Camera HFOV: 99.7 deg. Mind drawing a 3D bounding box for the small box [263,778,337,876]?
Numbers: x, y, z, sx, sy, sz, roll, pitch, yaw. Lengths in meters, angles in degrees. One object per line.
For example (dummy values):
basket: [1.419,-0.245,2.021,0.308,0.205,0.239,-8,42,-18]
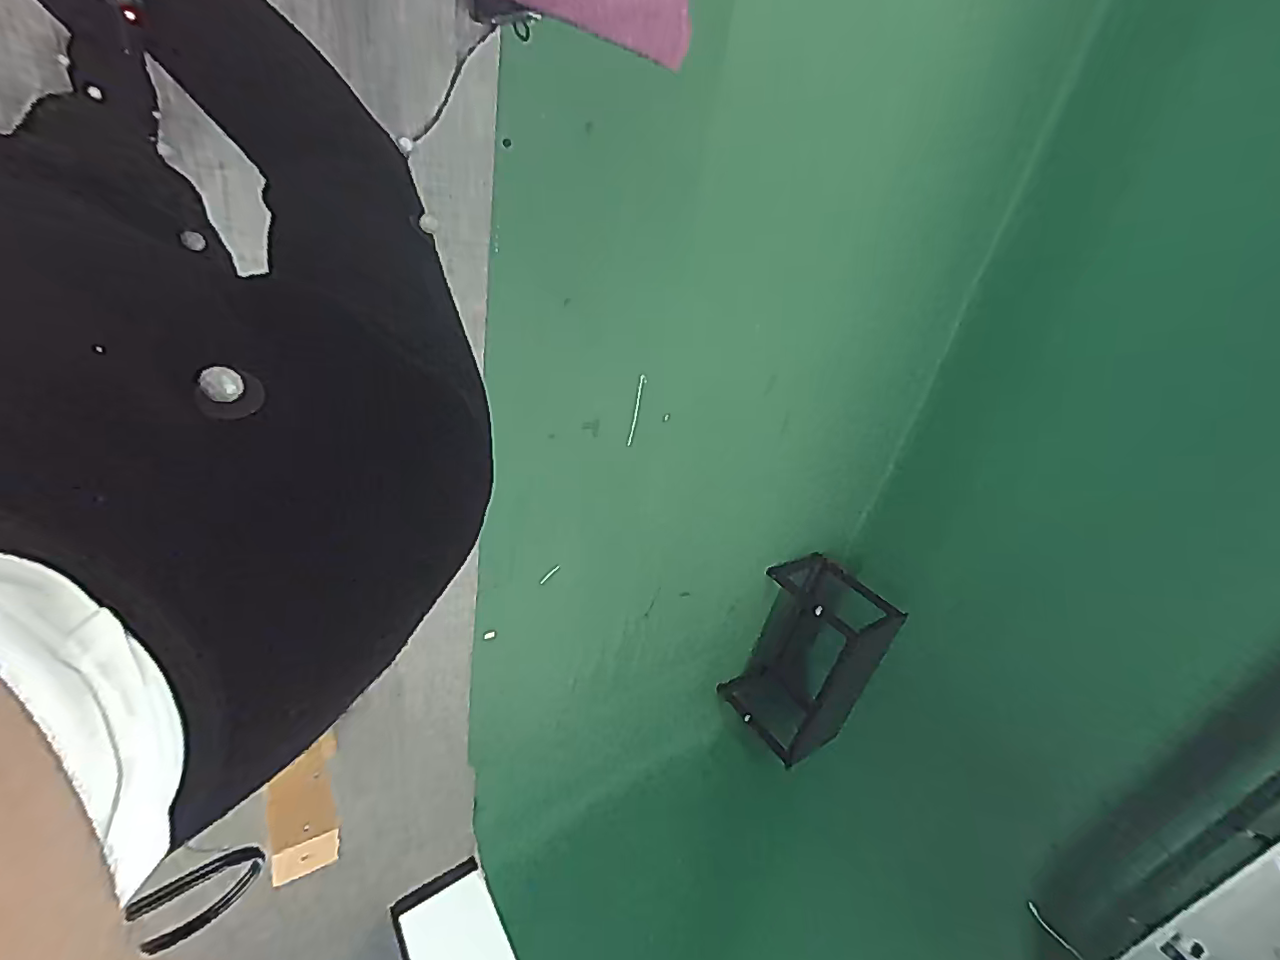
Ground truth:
small box: [-1.076,1.084,1.707,0.179,0.176,0.168,-3,121,-39]
